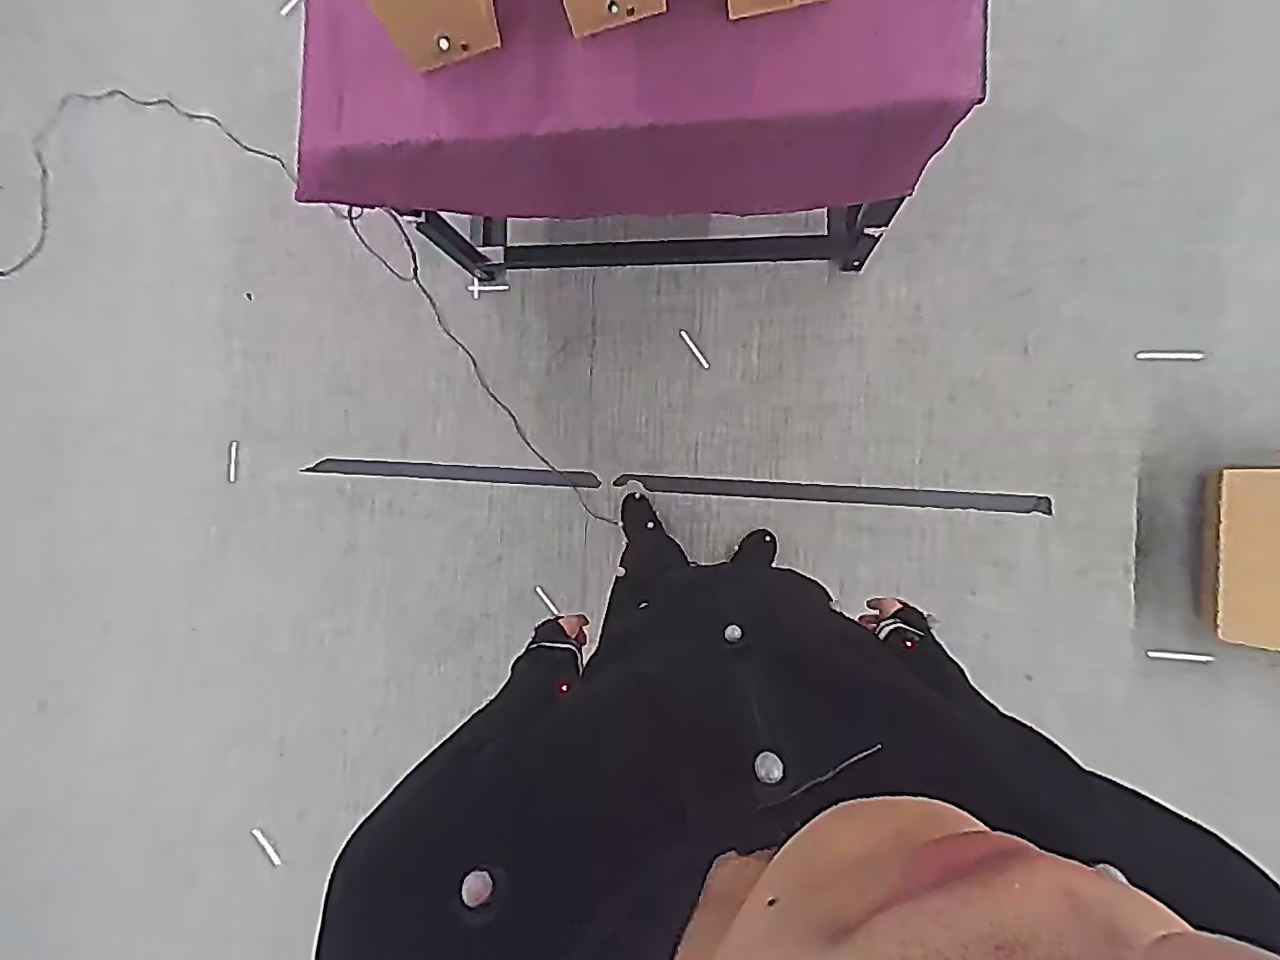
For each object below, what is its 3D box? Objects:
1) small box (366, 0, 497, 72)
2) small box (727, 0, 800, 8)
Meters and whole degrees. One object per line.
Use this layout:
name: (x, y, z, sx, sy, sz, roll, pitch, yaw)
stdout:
small box: (-0.358, -0.842, 0.901, 0.168, 0.176, 0.179, -12, 88, 9)
small box: (0.208, -0.862, 0.812, 0.168, 0.176, 0.179, -4, 88, 8)
